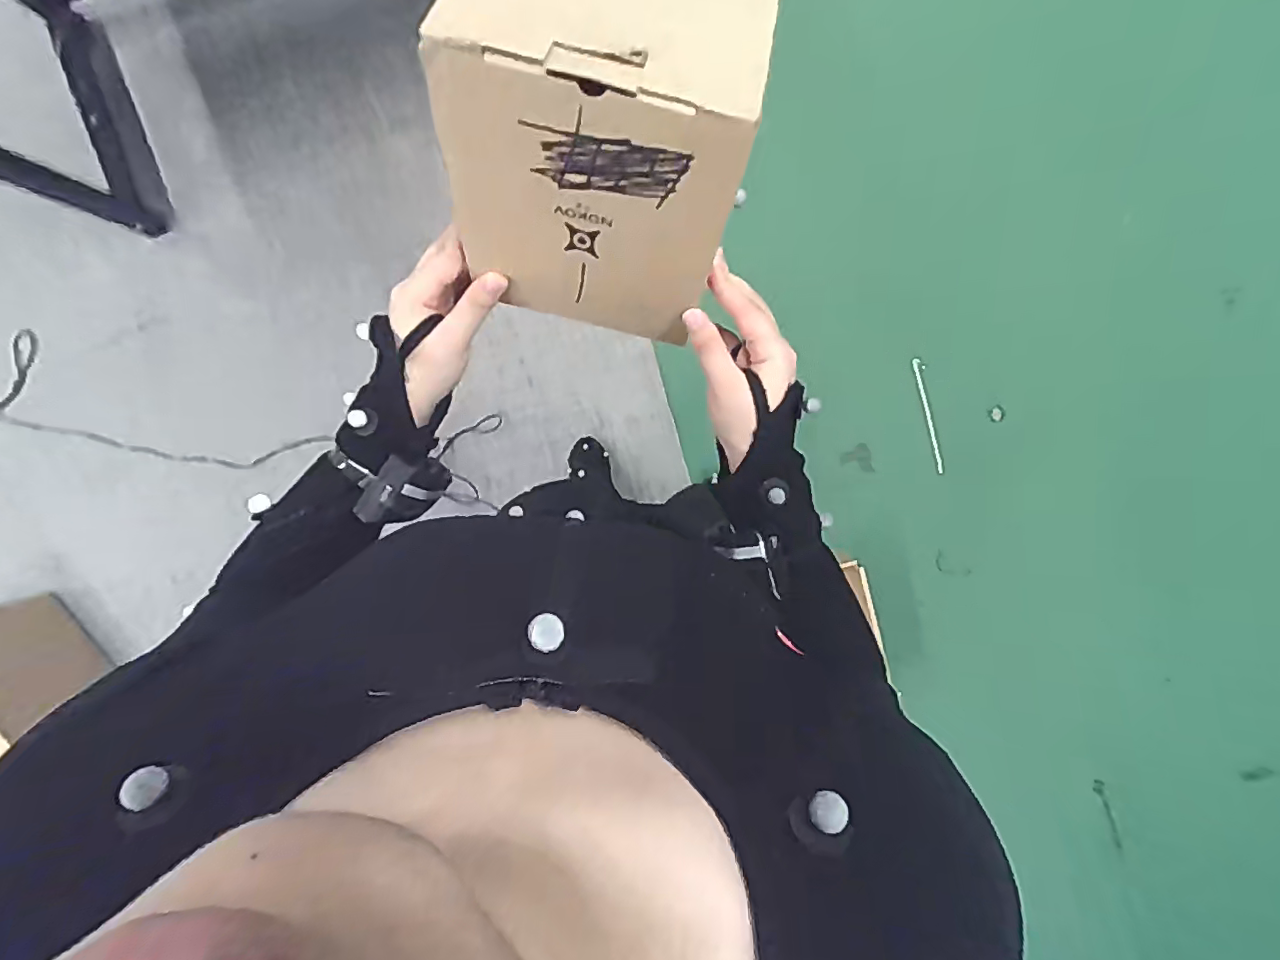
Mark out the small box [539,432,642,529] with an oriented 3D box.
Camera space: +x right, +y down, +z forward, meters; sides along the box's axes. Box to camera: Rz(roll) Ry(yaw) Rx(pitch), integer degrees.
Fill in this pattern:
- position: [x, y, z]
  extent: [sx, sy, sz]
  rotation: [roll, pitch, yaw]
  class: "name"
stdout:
- position: [-0.119, -0.001, 1.382]
  extent: [0.176, 0.168, 0.179]
  rotation: [45, 70, -31]
  class: "small box"
